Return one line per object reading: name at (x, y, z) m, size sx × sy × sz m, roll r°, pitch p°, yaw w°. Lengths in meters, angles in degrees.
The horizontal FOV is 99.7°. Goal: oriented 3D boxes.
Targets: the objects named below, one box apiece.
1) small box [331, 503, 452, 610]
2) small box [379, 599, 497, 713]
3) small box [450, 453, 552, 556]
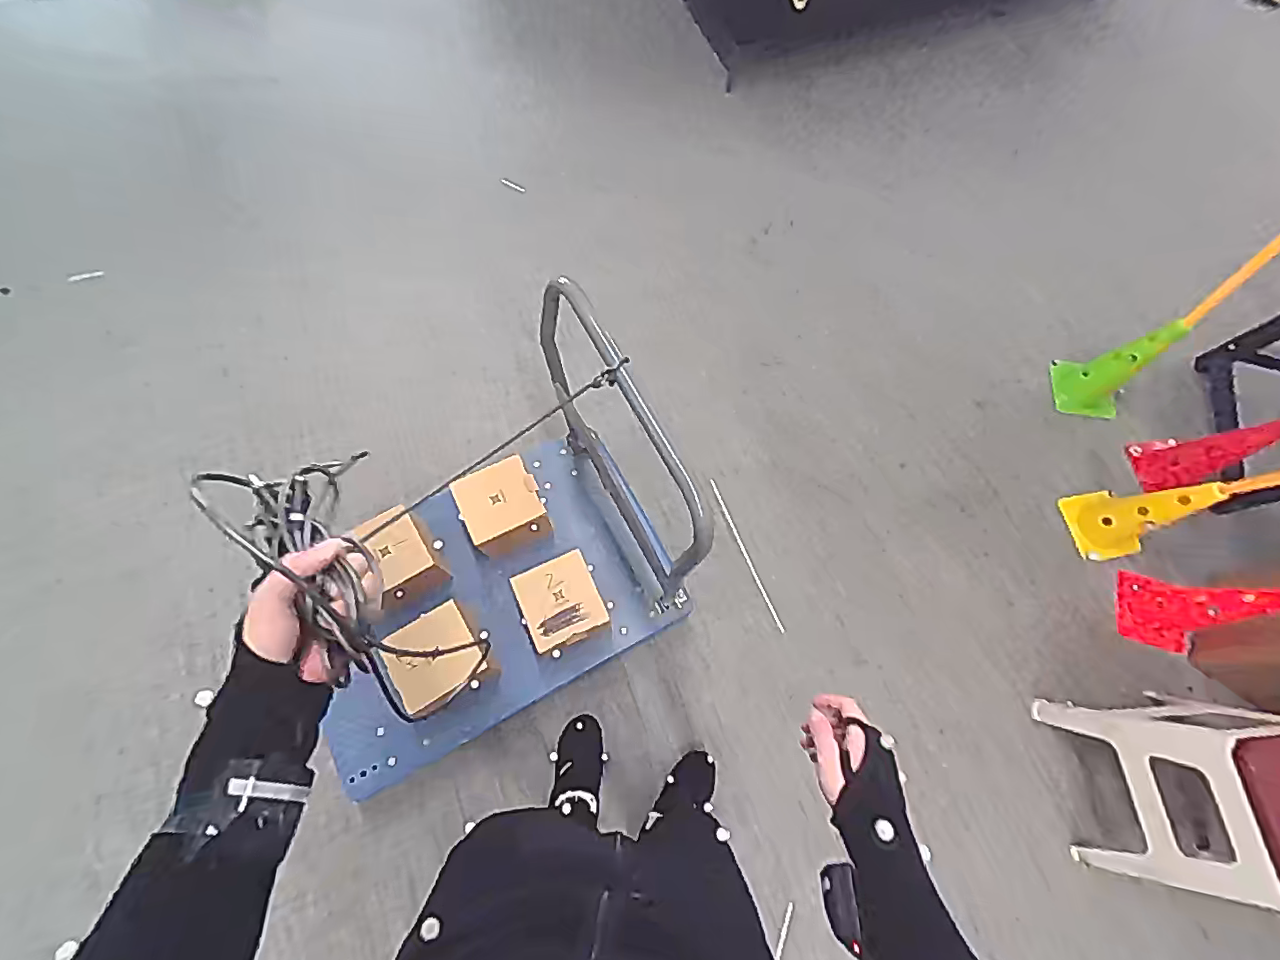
small box at (-0.564, 0.183, 1.250) m, size 0.179 × 0.176 × 0.168 m, roll -29°, pitch 75°, yaw -14°
small box at (-0.429, 0.384, 1.184) m, size 0.179 × 0.176 × 0.168 m, roll -30°, pitch 73°, yaw -13°
small box at (-0.328, 0.067, 1.309) m, size 0.179 × 0.176 × 0.168 m, roll -25°, pitch 73°, yaw -12°
